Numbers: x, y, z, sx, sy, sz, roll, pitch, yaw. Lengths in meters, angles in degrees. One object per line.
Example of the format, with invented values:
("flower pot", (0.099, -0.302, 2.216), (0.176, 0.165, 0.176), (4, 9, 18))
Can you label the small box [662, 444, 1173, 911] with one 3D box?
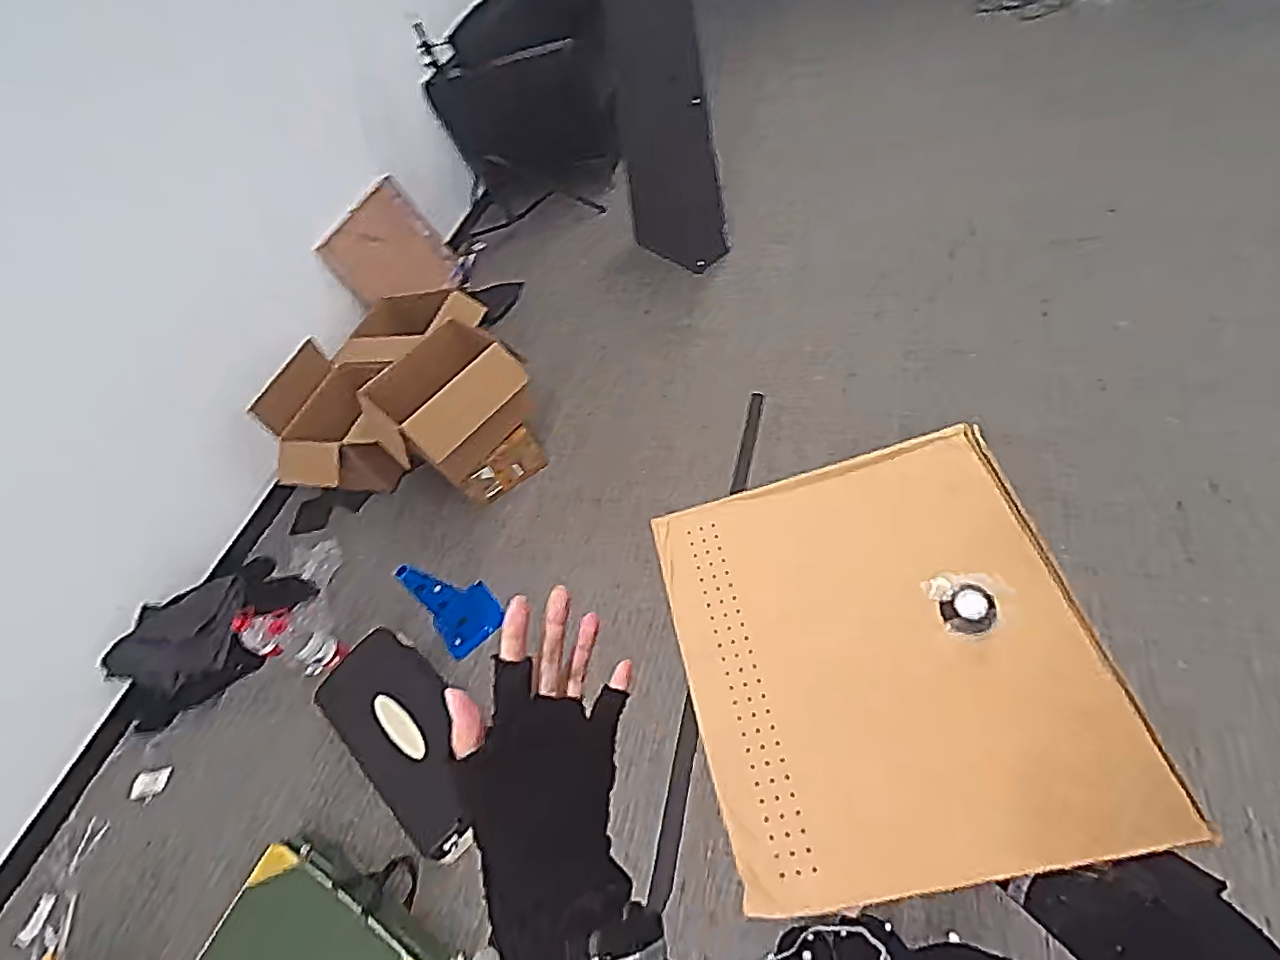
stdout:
("small box", (0.120, 0.111, 0.315), (0.176, 0.168, 0.179), (-18, 62, 10))
